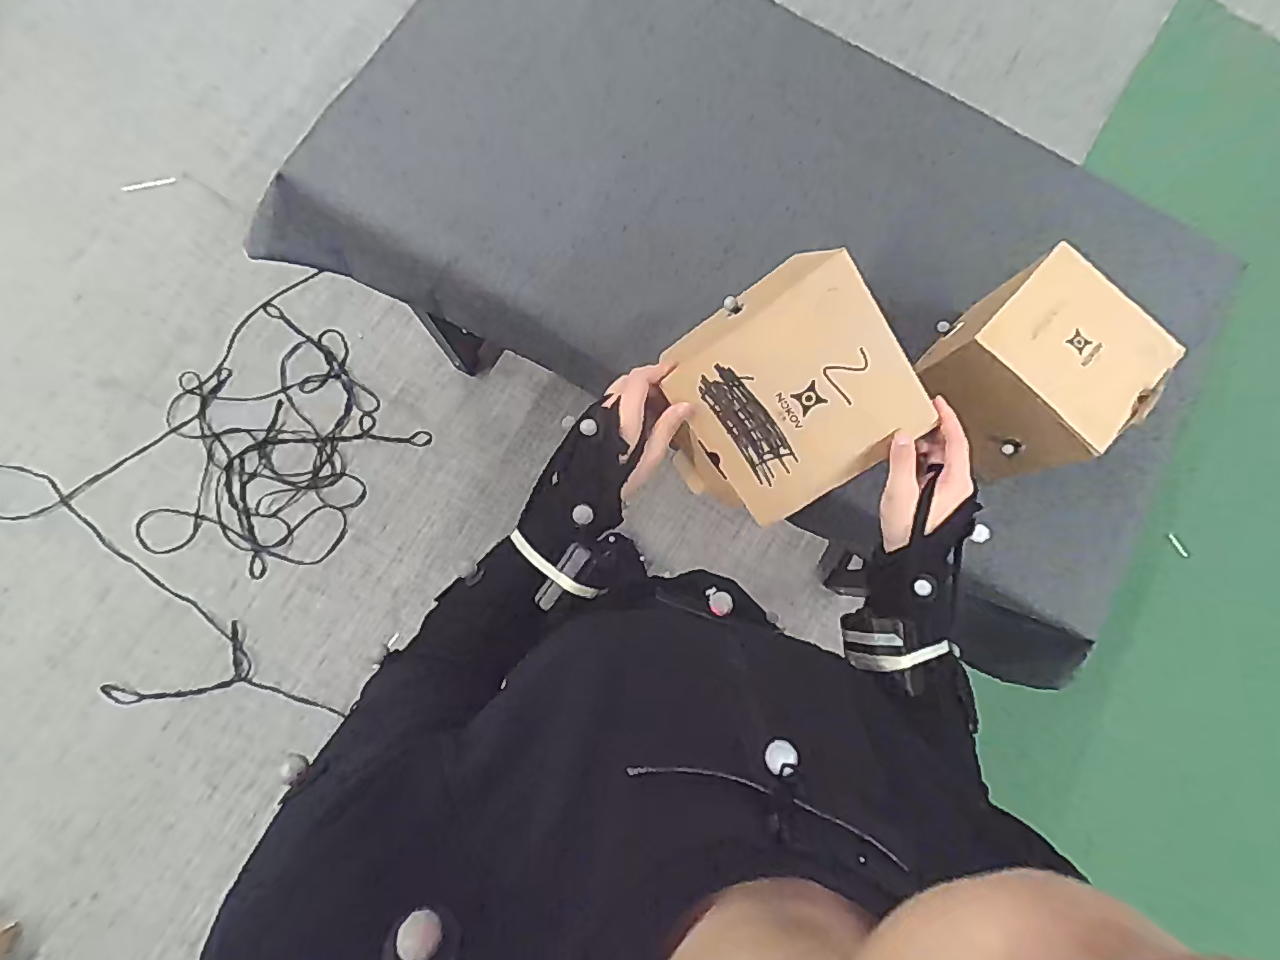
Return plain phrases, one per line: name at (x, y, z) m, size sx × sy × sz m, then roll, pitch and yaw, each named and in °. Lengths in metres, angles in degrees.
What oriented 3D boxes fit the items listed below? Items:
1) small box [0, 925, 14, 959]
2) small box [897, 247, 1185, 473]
small box at (-1.429, 1.022, 1.070) m, size 0.168 × 0.176 × 0.179 m, roll 11°, pitch 79°, yaw -2°
small box at (0.455, -0.125, 0.643) m, size 0.179 × 0.176 × 0.168 m, roll 44°, pitch 79°, yaw 5°
